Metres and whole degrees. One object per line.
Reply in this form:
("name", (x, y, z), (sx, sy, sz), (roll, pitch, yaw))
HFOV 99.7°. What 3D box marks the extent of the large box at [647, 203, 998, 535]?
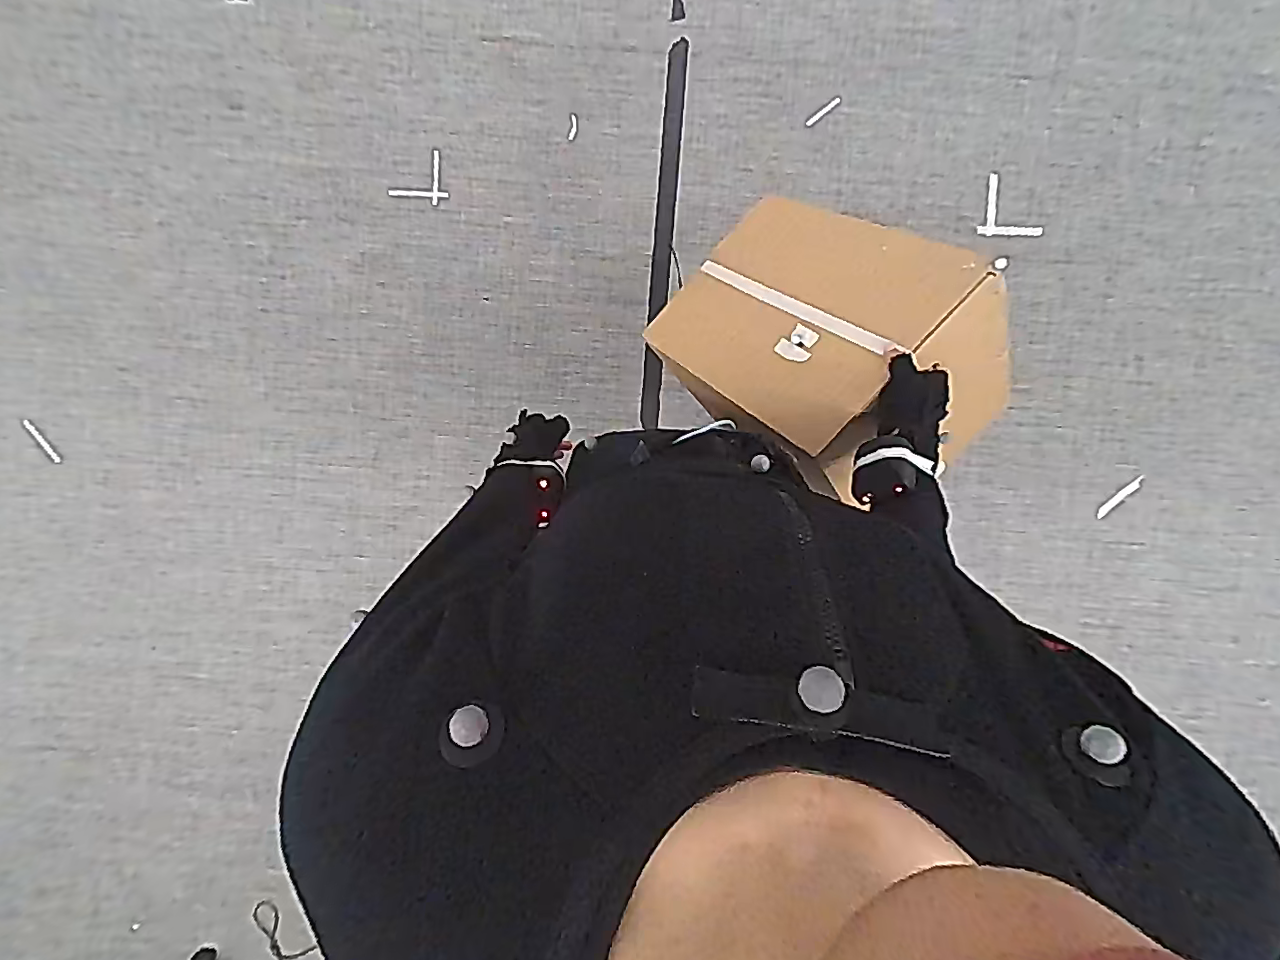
("large box", (0.290, -0.182, 0.886), (0.320, 0.408, 0.320), (-47, 139, 5))
